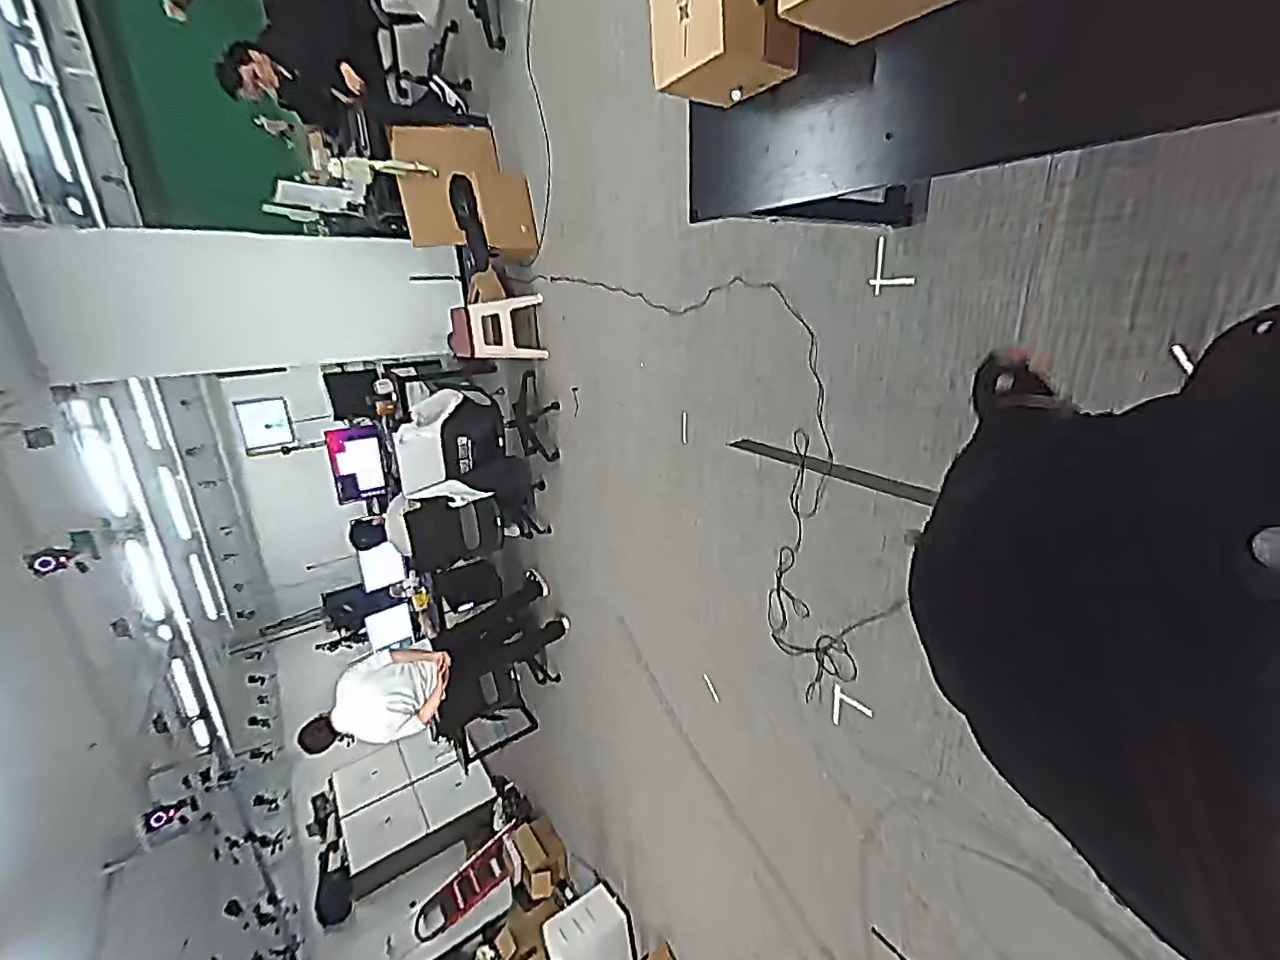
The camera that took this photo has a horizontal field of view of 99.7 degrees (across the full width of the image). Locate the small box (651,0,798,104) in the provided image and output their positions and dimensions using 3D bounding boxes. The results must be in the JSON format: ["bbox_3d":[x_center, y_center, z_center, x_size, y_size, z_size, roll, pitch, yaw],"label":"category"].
[{"bbox_3d":[0.134,-0.730,0.854,0.168,0.176,0.179,20,119,52],"label":"small box"}]

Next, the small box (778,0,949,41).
[{"bbox_3d":[0.289,-0.668,0.645,0.179,0.176,0.168,21,119,51],"label":"small box"}]
